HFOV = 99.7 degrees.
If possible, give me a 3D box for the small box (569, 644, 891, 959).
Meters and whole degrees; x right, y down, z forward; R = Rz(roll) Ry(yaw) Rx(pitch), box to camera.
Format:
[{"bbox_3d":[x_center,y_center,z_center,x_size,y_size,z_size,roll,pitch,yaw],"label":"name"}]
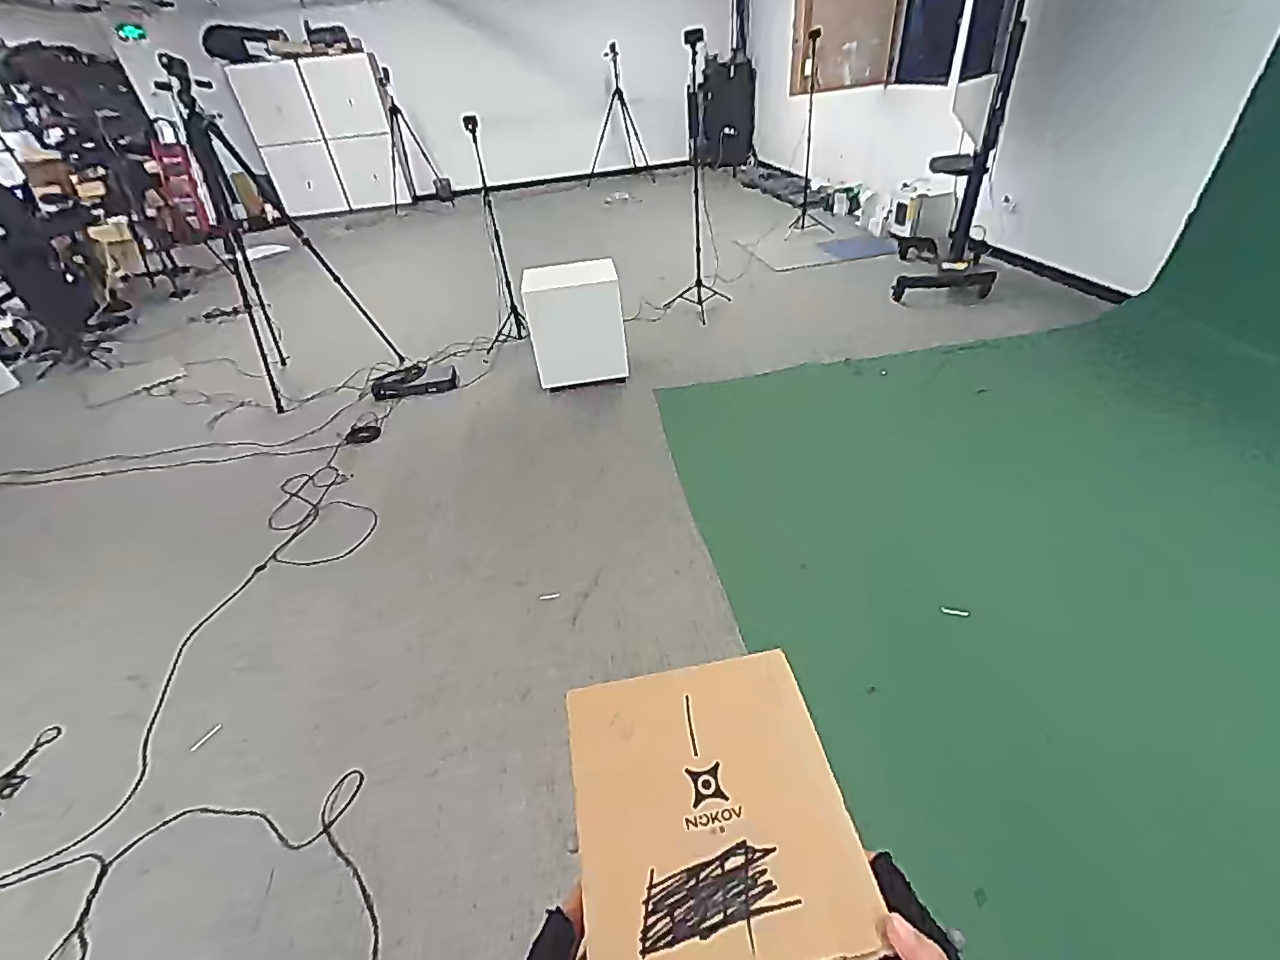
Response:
[{"bbox_3d":[0.045,0.250,0.393,0.168,0.176,0.179,-8,45,-6],"label":"small box"}]
